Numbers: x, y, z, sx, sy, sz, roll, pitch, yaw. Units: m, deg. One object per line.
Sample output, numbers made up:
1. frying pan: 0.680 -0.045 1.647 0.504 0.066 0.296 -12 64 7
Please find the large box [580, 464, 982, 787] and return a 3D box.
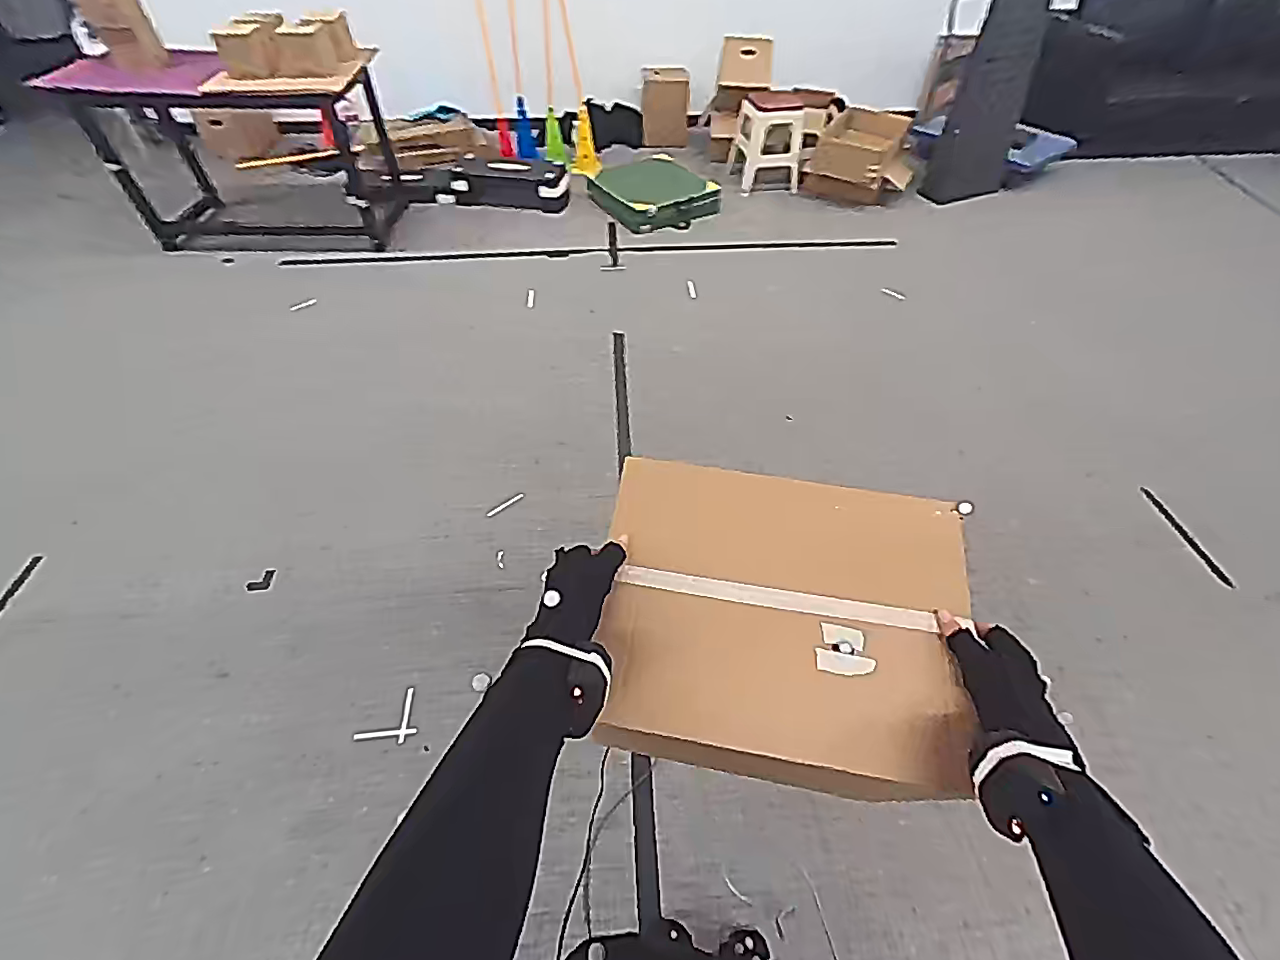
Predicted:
1. large box: 0.157 0.206 0.734 0.408 0.320 0.320 8 61 6
